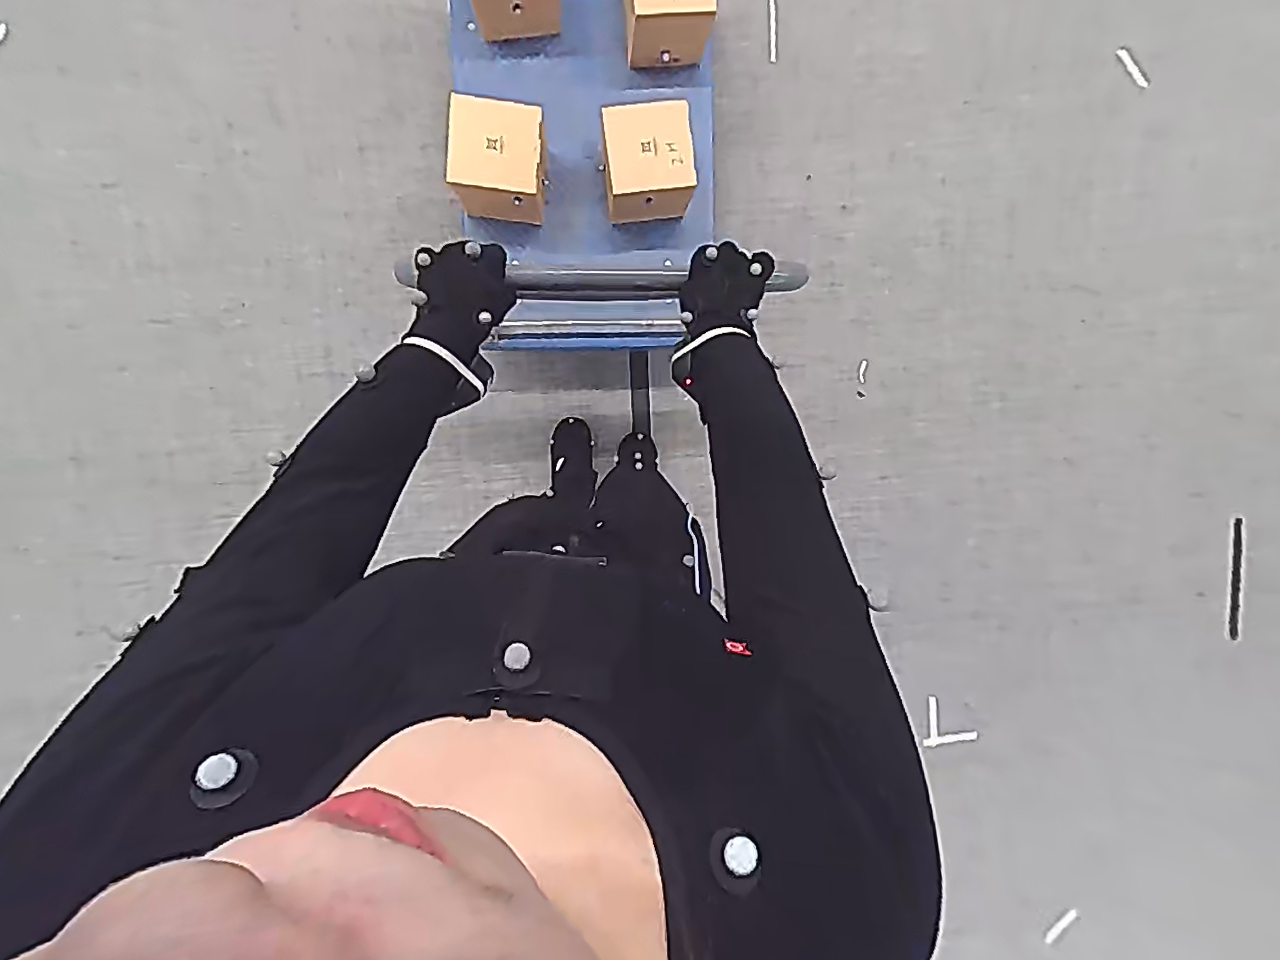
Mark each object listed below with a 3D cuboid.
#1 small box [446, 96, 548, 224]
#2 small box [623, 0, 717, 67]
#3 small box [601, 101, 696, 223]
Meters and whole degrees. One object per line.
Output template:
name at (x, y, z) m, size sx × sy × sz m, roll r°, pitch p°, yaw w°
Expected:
small box at (-0.290, -0.654, 1.125) m, size 0.179 × 0.176 × 0.168 m, roll 4°, pitch 96°, yaw -7°
small box at (0.055, -0.998, 1.114) m, size 0.168 × 0.176 × 0.179 m, roll -6°, pitch 98°, yaw -4°
small box at (0.013, -0.665, 1.149) m, size 0.179 × 0.176 × 0.168 m, roll -8°, pitch 98°, yaw -4°
